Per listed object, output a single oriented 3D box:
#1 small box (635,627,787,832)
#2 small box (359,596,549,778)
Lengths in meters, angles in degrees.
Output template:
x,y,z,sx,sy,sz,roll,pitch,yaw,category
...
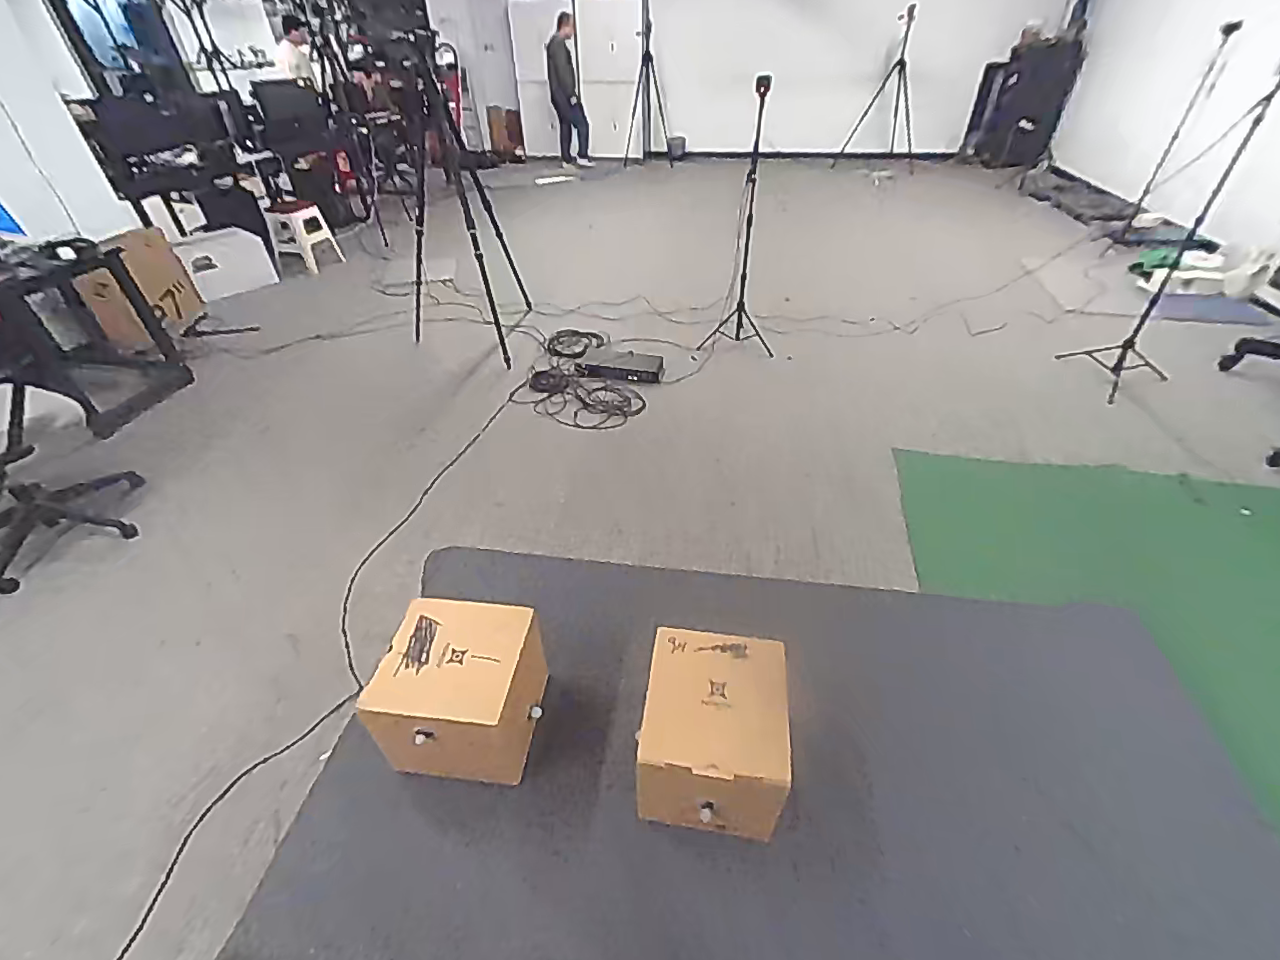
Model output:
x,y,z,sx,sy,sz,roll,pitch,yaw,category
0.092,0.317,0.687,0.168,0.176,0.179,5,41,8,small box
-0.235,0.281,0.735,0.179,0.176,0.168,5,40,5,small box
